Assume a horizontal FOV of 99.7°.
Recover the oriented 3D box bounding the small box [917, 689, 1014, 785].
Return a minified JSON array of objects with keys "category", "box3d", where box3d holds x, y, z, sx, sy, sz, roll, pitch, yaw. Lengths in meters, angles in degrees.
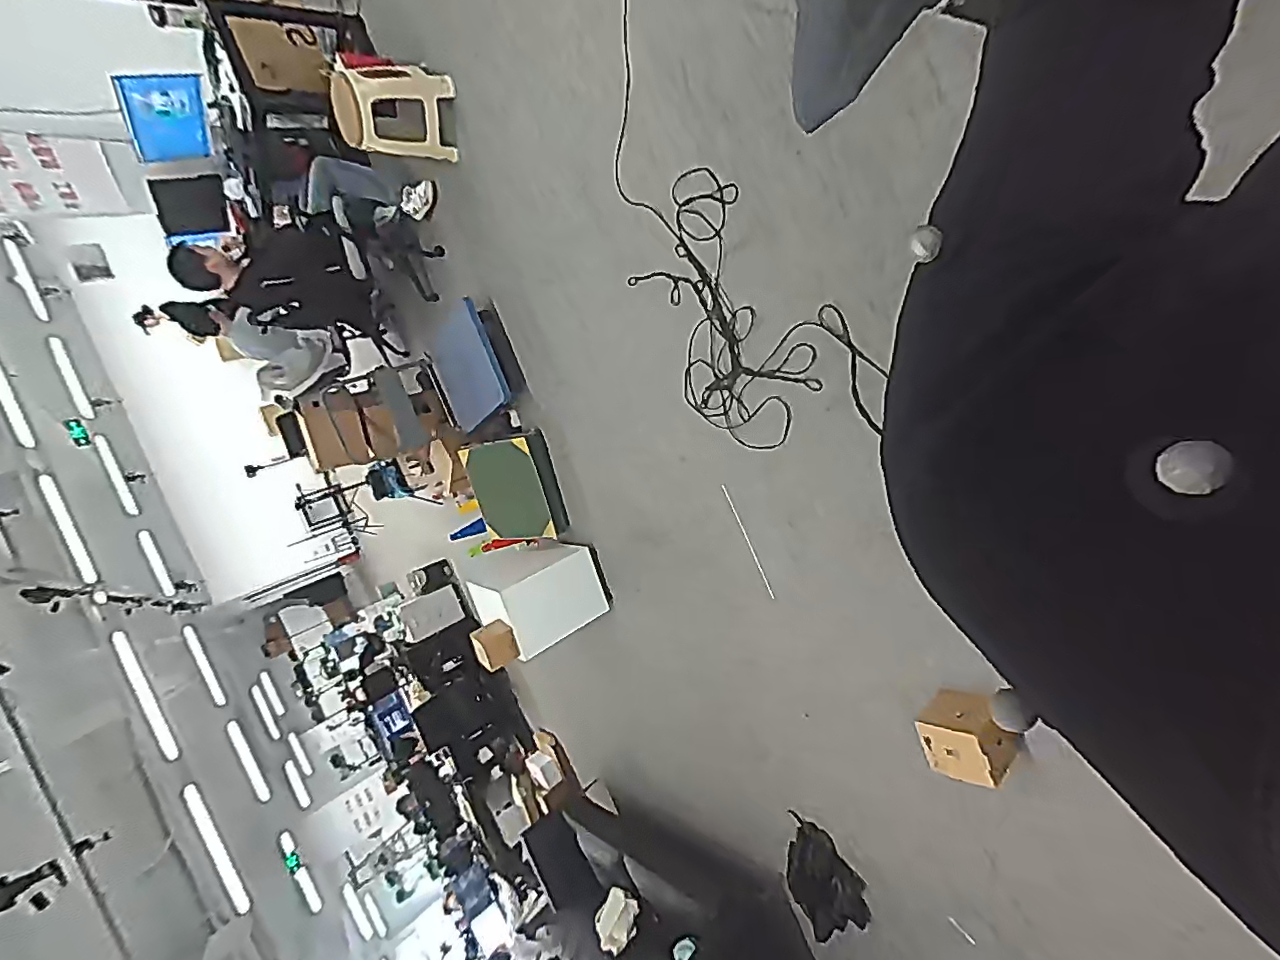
[{"category":"small box","box3d":[0.931,0.719,1.537,0.179,0.176,0.168,-15,98,55]}]
